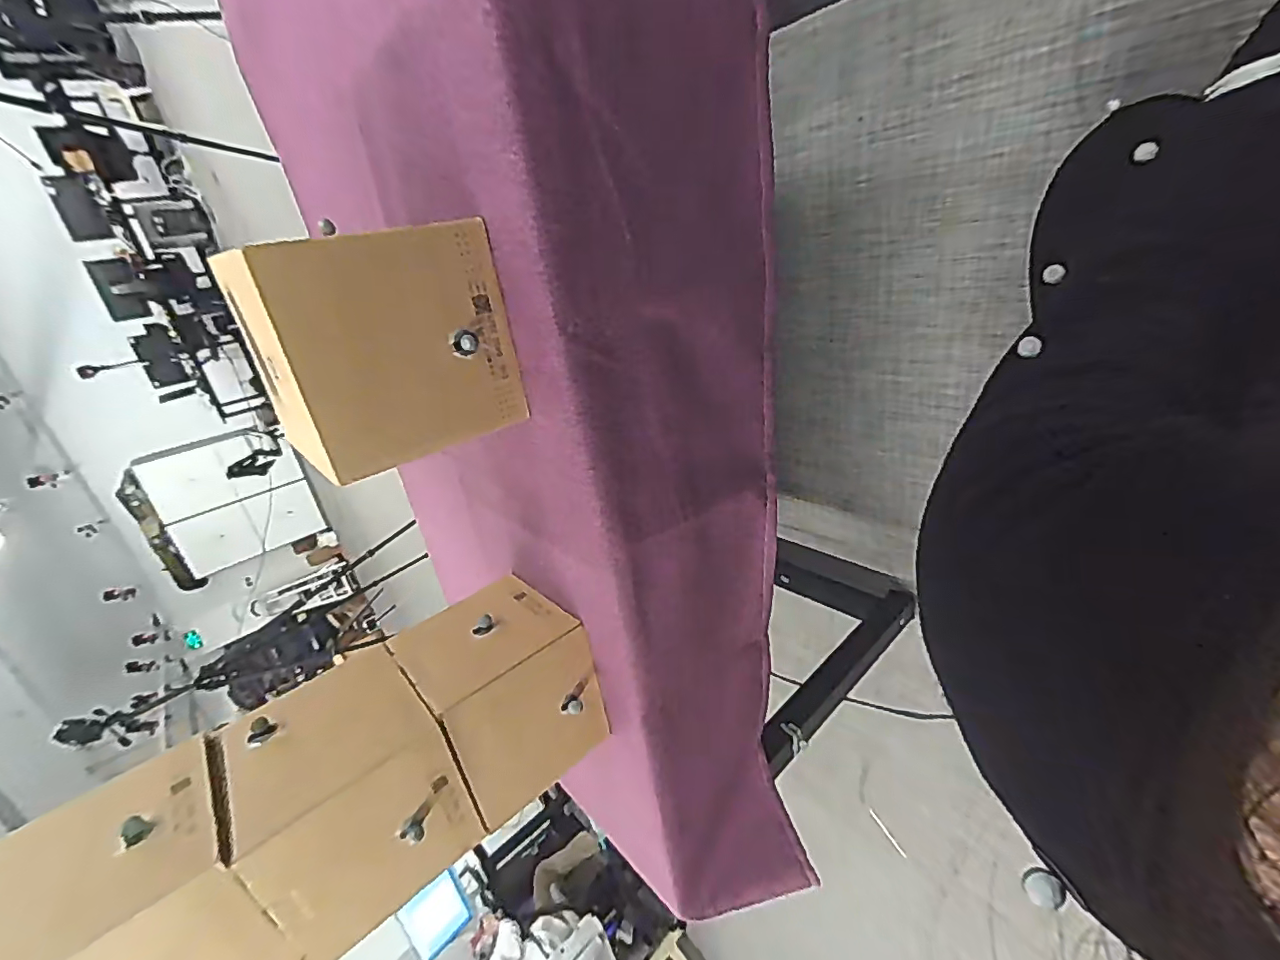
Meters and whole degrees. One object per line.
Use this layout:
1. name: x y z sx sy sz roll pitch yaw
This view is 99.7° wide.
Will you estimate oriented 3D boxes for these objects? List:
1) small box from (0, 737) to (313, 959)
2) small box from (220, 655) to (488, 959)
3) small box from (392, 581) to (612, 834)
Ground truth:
1. small box: -0.401 0.364 0.447 0.168 0.176 0.179 20 127 45
2. small box: -0.279 0.306 0.541 0.179 0.176 0.168 18 127 45
3. small box: -0.154 0.245 0.631 0.168 0.176 0.179 17 124 47
